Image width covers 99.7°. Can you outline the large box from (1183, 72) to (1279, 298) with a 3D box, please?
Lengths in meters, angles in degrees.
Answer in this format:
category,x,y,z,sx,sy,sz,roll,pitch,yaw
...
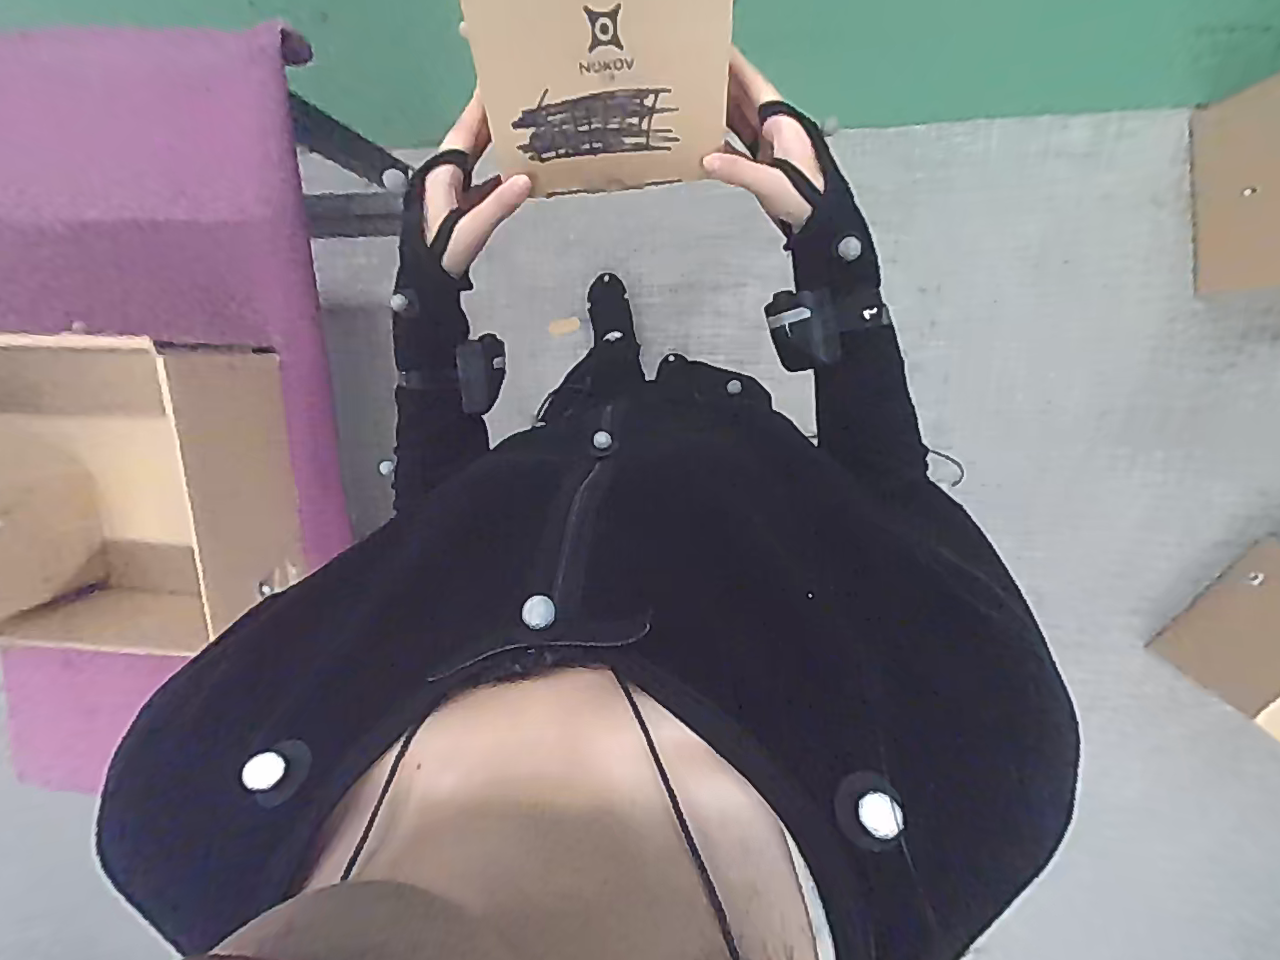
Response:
category,x,y,z,sx,sy,sz,roll,pitch,yaw
large box,1.402,-0.624,1.086,0.320,0.320,0.408,-14,100,7
